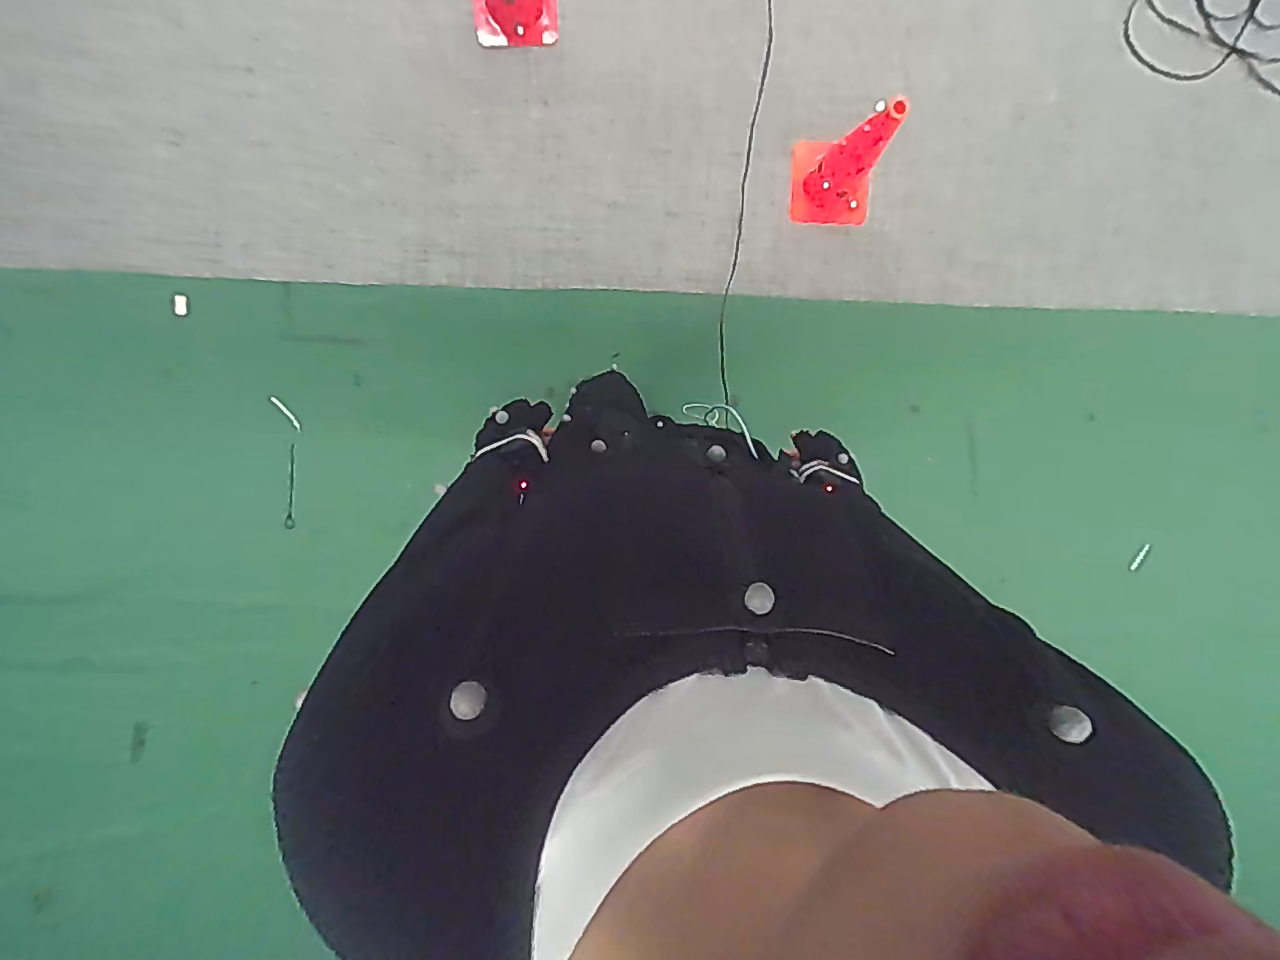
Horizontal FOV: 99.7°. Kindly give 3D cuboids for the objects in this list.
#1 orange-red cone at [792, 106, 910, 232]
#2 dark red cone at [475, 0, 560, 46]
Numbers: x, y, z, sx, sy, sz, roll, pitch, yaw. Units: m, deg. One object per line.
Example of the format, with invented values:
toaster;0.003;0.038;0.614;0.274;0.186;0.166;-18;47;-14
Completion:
orange-red cone;0.500;-0.731;1.225;0.198;0.360;0.199;2;96;-2
dark red cone;-0.293;-1.133;1.138;0.202;0.394;0.201;-4;98;-1
